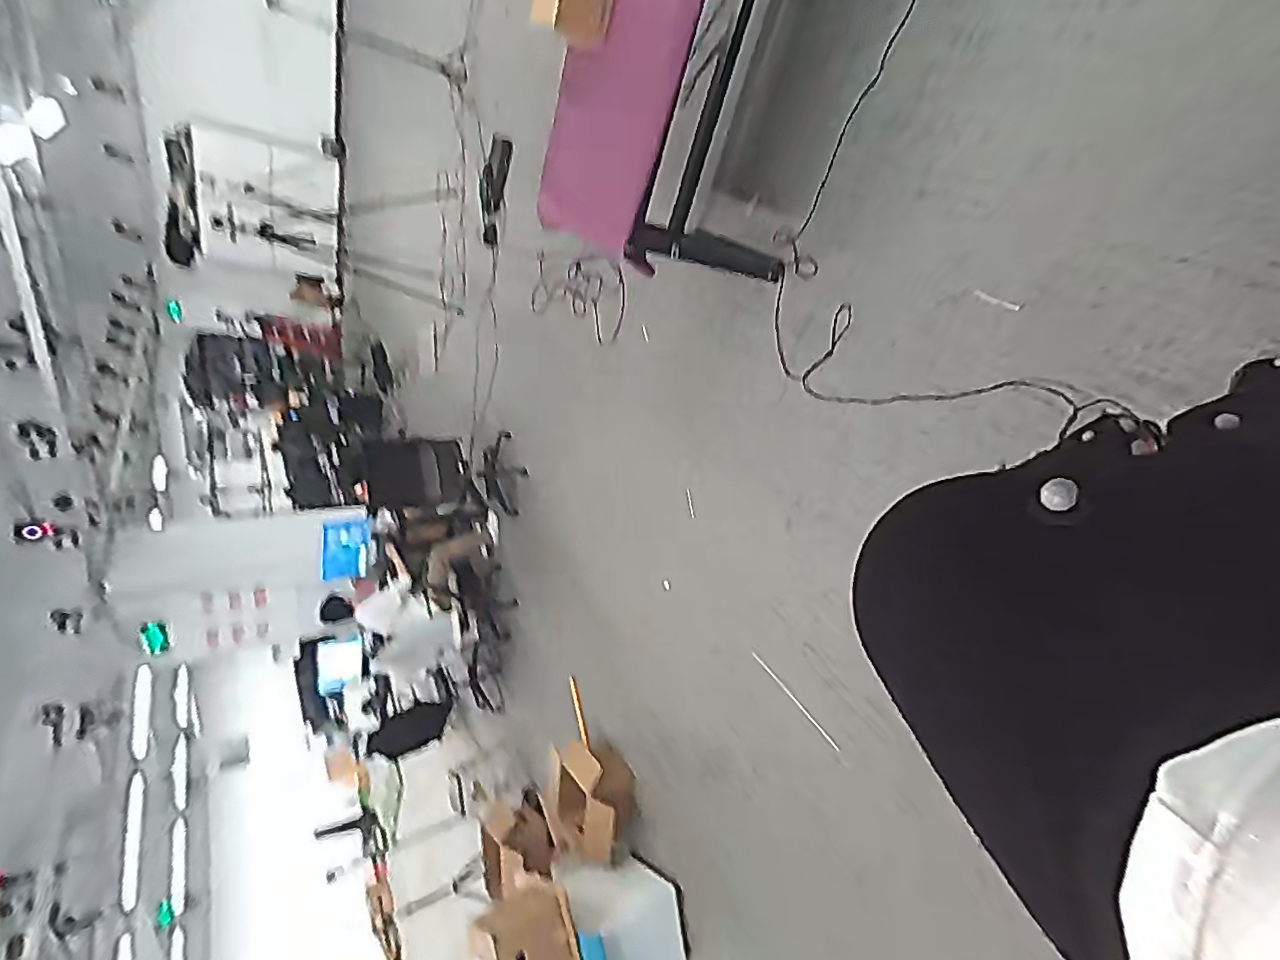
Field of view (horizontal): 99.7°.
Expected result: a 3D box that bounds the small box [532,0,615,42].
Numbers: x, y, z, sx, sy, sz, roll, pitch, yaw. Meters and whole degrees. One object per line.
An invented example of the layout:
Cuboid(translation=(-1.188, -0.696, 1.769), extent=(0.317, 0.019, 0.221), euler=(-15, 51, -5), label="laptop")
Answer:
Cuboid(translation=(-0.186, -1.399, 1.558), extent=(0.179, 0.176, 0.168), euler=(49, 131, 37), label="small box")
